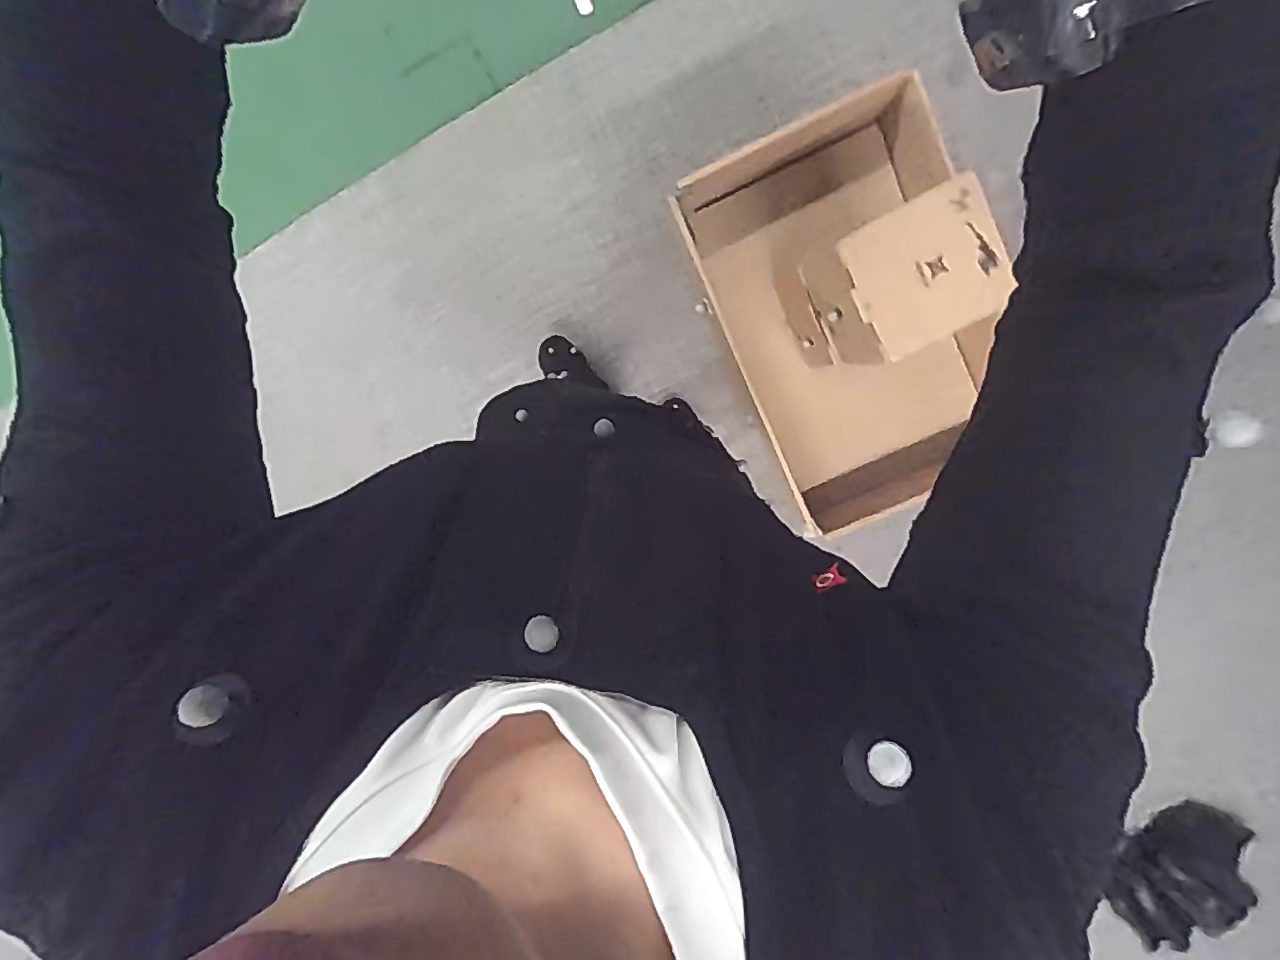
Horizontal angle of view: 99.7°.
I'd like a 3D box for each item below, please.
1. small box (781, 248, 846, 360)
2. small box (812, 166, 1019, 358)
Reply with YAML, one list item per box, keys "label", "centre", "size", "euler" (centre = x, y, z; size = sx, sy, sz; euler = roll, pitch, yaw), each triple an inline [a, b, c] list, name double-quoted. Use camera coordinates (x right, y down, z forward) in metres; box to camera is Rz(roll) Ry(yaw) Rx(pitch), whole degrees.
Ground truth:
- label: "small box"
  centre: [0.348, -0.305, 0.890]
  size: [0.179, 0.176, 0.168]
  euler: [-25, 100, 5]
- label: "small box"
  centre: [0.350, -0.273, 0.729]
  size: [0.179, 0.176, 0.168]
  euler: [-27, 100, 8]
